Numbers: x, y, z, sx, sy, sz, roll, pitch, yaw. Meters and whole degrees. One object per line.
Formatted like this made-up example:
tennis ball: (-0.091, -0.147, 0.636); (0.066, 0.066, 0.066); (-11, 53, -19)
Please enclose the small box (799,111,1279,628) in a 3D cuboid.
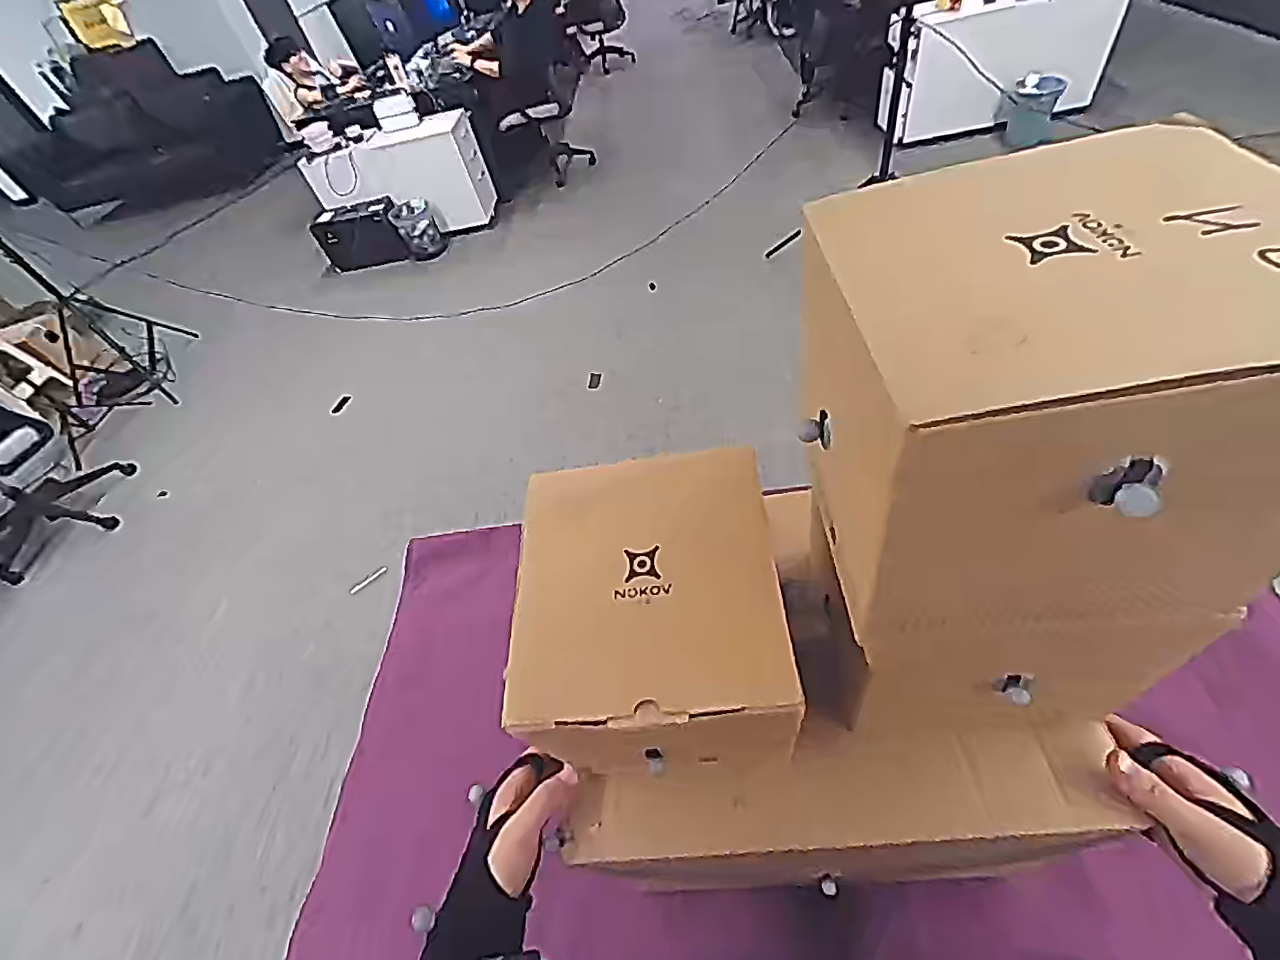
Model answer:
small box: (0.181, -0.041, 0.263); (0.179, 0.176, 0.168); (-8, 49, 9)
